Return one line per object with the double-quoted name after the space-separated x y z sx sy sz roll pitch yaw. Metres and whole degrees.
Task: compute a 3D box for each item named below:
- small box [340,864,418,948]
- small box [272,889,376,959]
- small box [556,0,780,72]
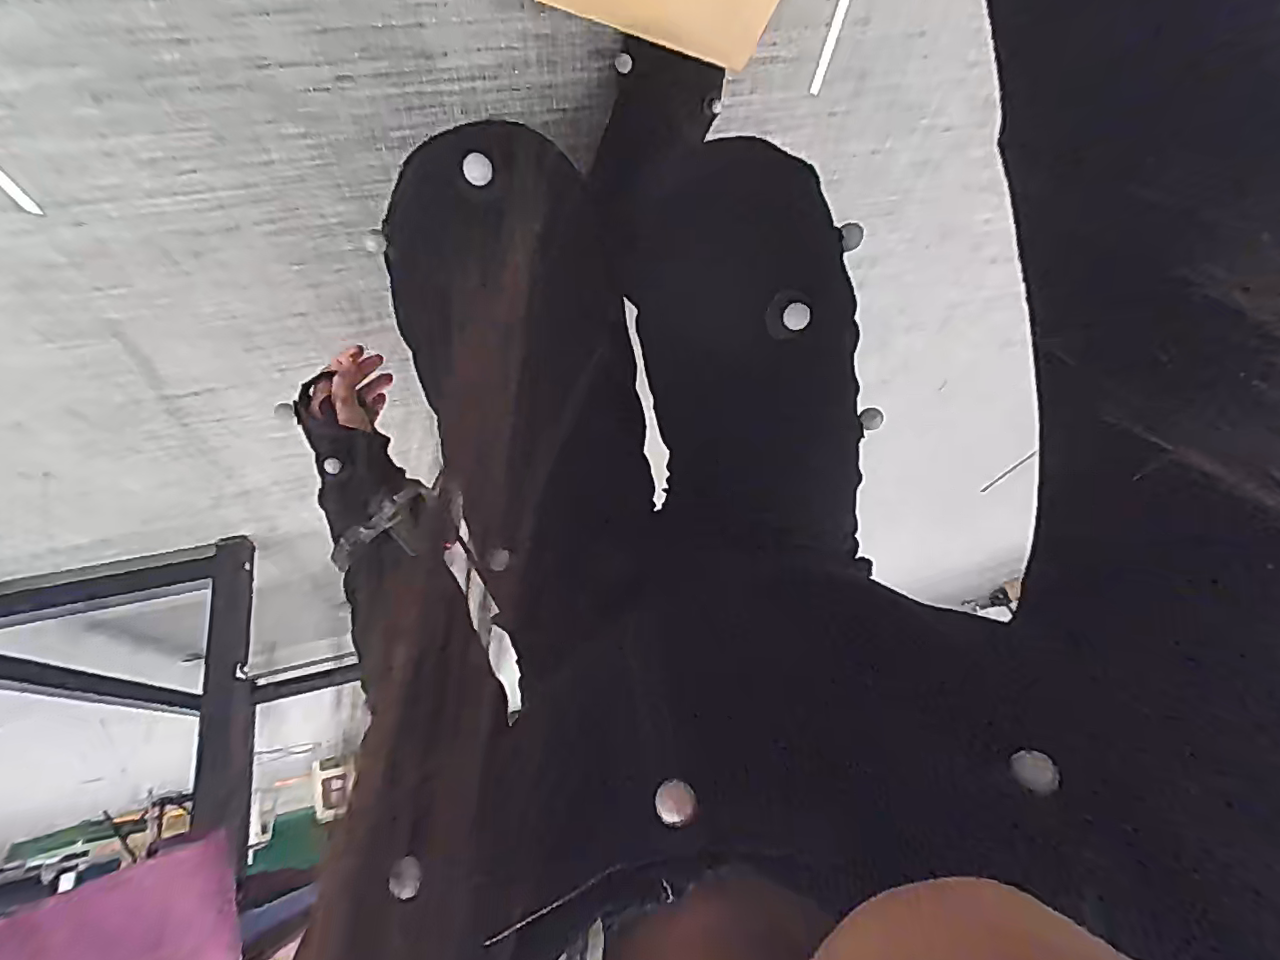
-0.773 1.269 1.606 0.168 0.176 0.179 -12 154 -9 "small box"
-0.766 1.126 1.314 0.179 0.176 0.168 -12 154 -9 "small box"
0.020 -0.417 0.335 0.168 0.176 0.179 -4 155 -29 "small box"
